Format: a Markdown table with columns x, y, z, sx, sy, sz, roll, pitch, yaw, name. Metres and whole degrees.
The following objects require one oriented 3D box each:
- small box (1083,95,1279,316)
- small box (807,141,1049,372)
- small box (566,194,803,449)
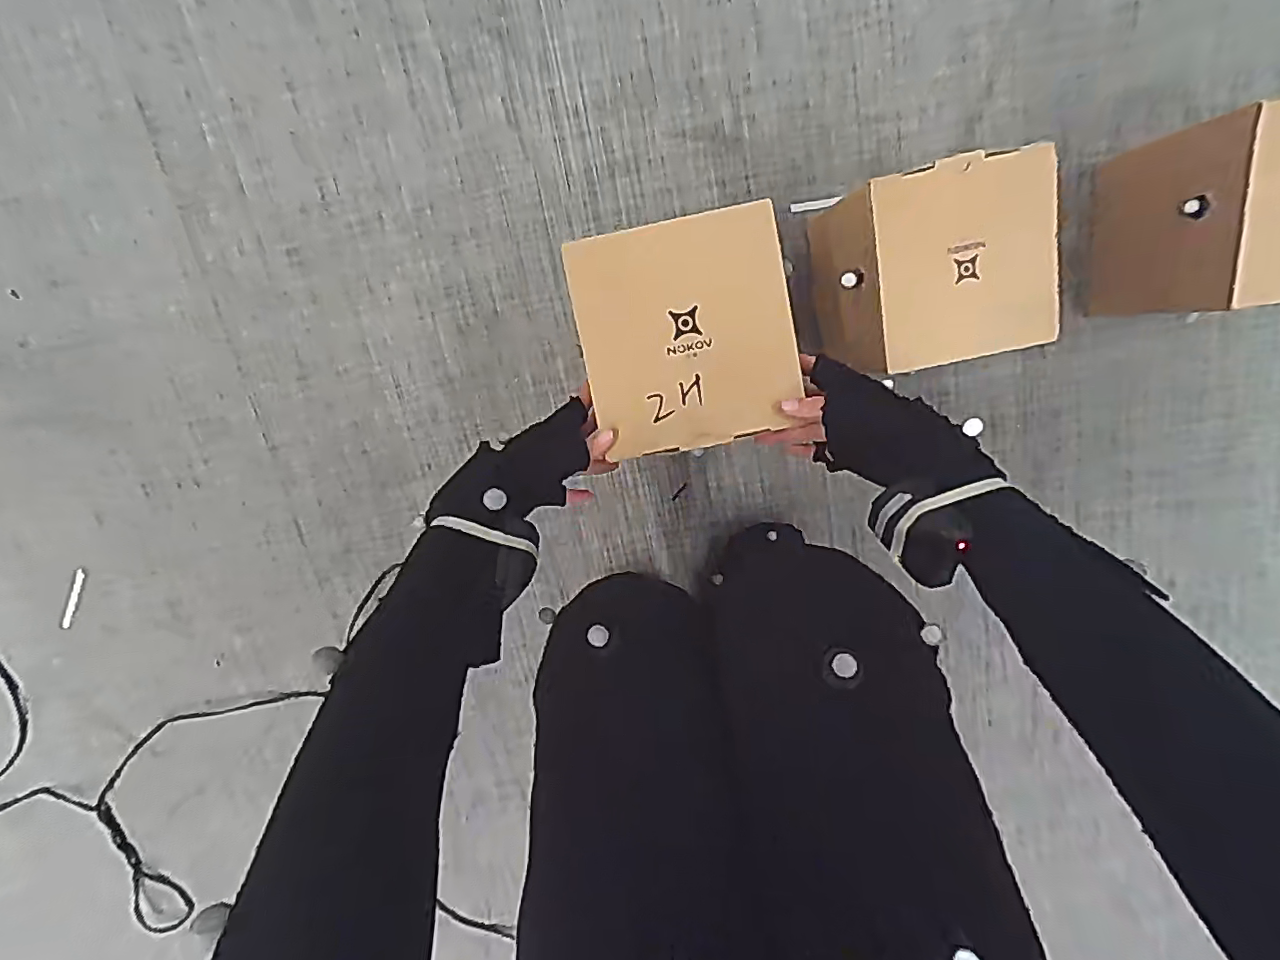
| x | y | z | sx | sy | sz | roll | pitch | yaw | name |
| --- | --- | --- | --- | --- | --- | --- | --- | --- | --- |
| 0.614 | -0.277 | 0.568 | 0.168 | 0.176 | 0.179 | -8 | 104 | 1 | small box |
| 0.292 | -0.221 | 0.578 | 0.168 | 0.176 | 0.179 | -12 | 103 | 2 | small box |
| 0.037 | -0.131 | 0.507 | 0.168 | 0.176 | 0.179 | -11 | 96 | 3 | small box |
